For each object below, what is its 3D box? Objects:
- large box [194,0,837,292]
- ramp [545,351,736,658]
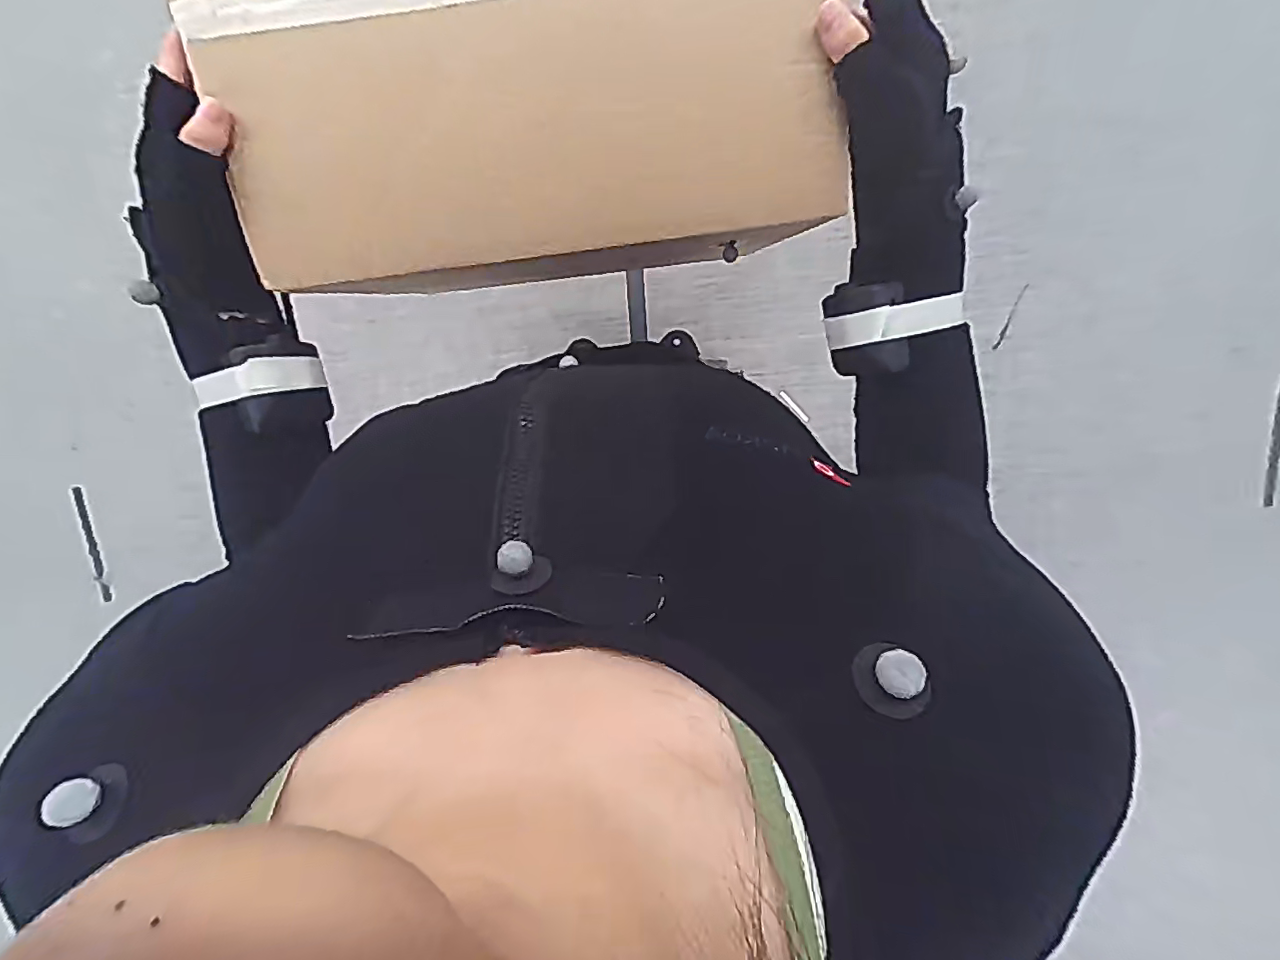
[{"bbox_3d":[-0.077,-0.354,0.476,0.408,0.320,0.320,-7,108,2],"label":"large box"},{"bbox_3d":[0.036,0.130,1.627,0.509,0.206,0.991,-6,104,2],"label":"ramp"}]
